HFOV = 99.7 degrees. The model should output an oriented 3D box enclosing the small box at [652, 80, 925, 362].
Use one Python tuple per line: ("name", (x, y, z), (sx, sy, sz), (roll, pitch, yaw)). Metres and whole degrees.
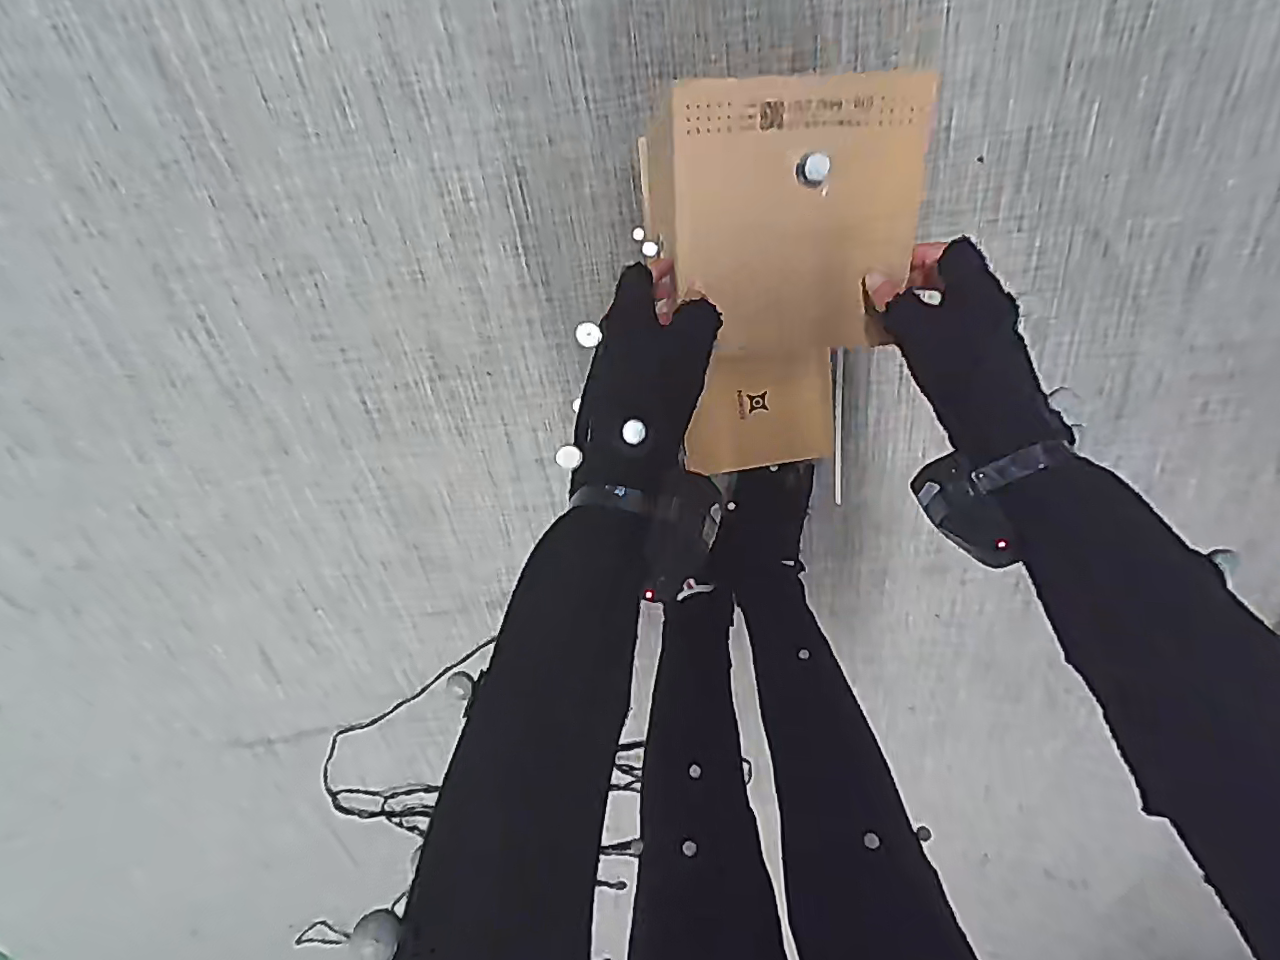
("small box", (0.099, -0.199, 0.435), (0.168, 0.179, 0.176), (-4, 115, -3))
